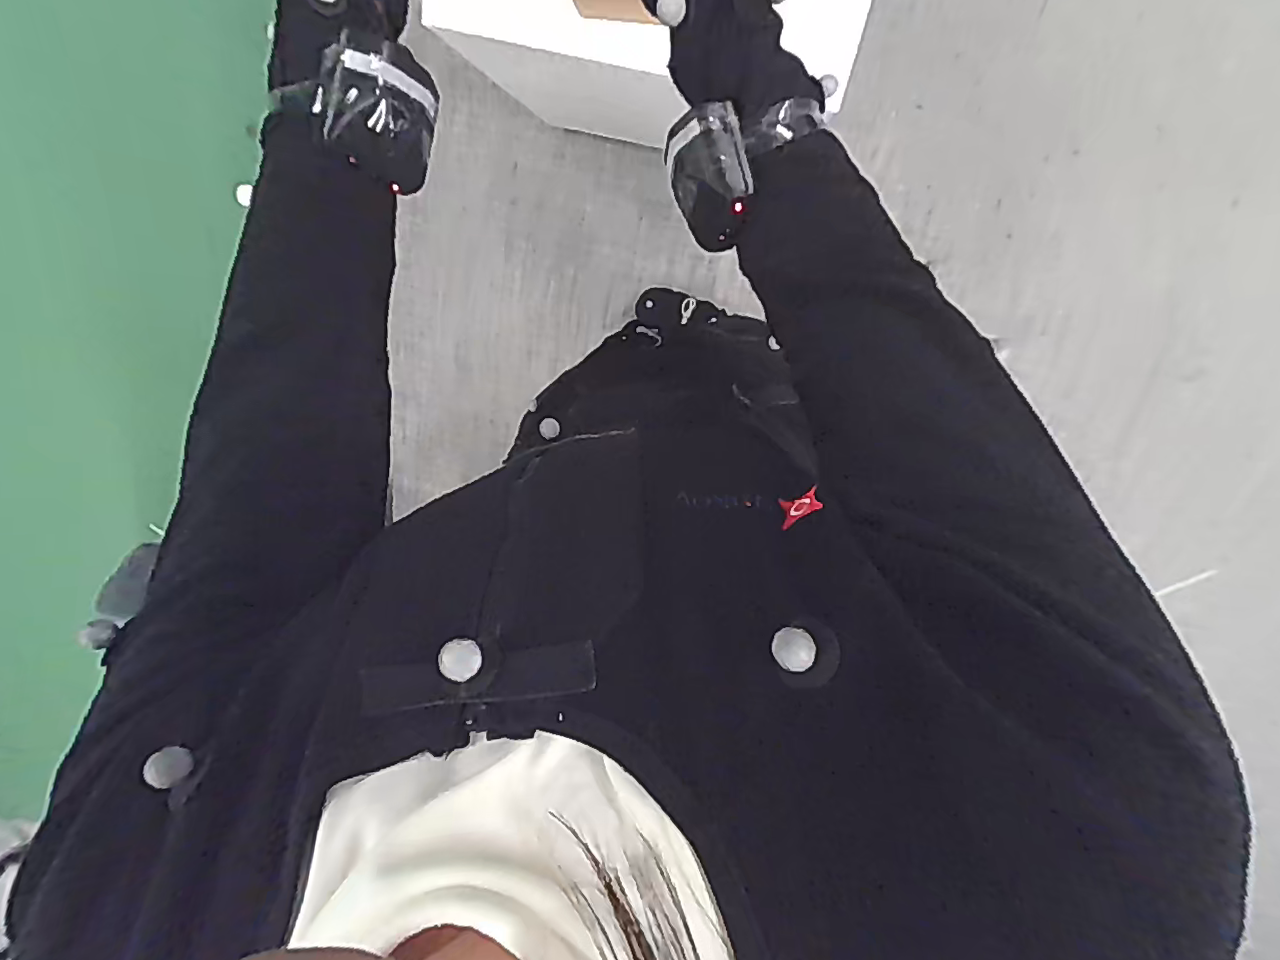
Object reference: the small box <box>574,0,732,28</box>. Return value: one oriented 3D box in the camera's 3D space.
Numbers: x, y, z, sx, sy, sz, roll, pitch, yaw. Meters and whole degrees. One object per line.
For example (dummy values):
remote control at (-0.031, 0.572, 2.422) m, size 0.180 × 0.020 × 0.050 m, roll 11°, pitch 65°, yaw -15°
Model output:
small box at (0.015, -0.562, 0.510) m, size 0.179 × 0.176 × 0.168 m, roll 9°, pitch 112°, yaw 6°

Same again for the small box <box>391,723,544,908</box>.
small box at (-0.263, 0.517, 0.850) m, size 0.179 × 0.176 × 0.168 m, roll 15°, pitch 114°, yaw 2°
